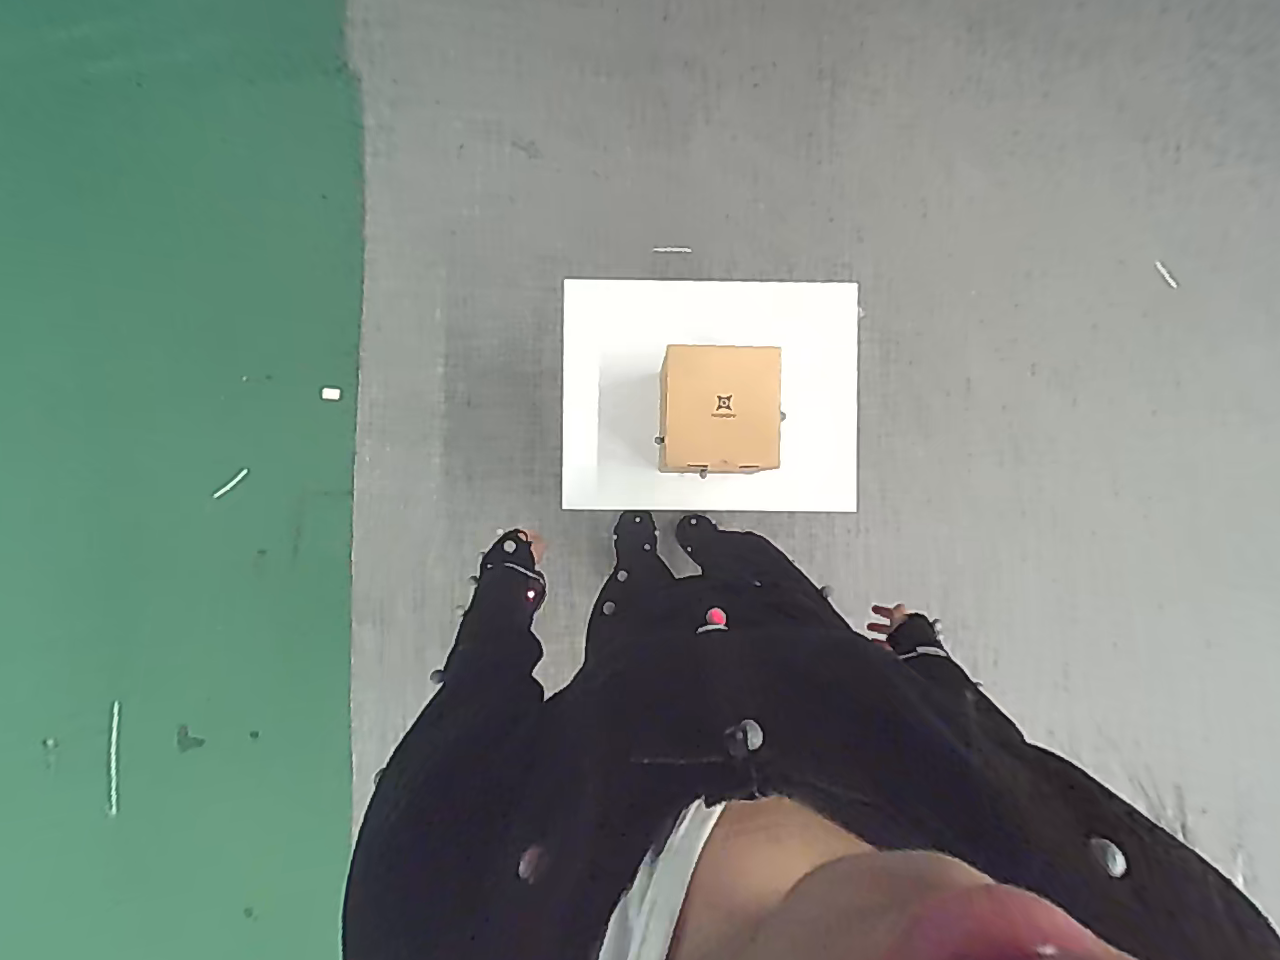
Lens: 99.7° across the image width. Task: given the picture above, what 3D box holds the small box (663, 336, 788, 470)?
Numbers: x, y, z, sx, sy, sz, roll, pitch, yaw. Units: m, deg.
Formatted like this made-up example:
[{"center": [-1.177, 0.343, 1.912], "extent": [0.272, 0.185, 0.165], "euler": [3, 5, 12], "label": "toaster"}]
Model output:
[{"center": [0.121, -0.109, 0.827], "extent": [0.168, 0.176, 0.179], "euler": [1, 89, -1], "label": "small box"}]
